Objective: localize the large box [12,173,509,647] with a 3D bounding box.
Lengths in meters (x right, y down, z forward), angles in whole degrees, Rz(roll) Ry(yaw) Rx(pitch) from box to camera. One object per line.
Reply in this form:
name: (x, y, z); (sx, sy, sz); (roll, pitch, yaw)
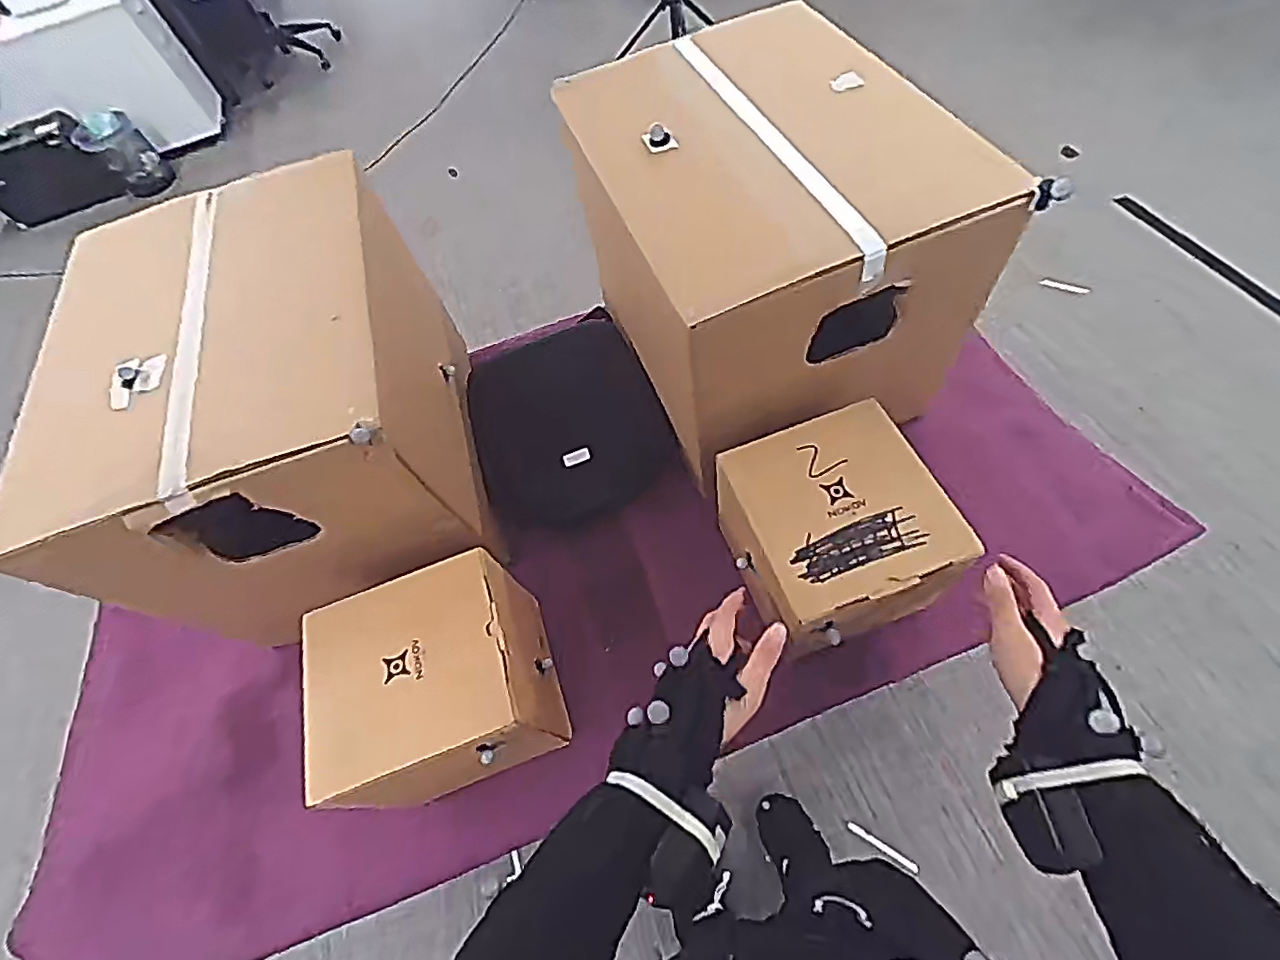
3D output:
large box: (-0.386, -0.068, 0.642); (0.320, 0.320, 0.408); (-20, 62, -2)
